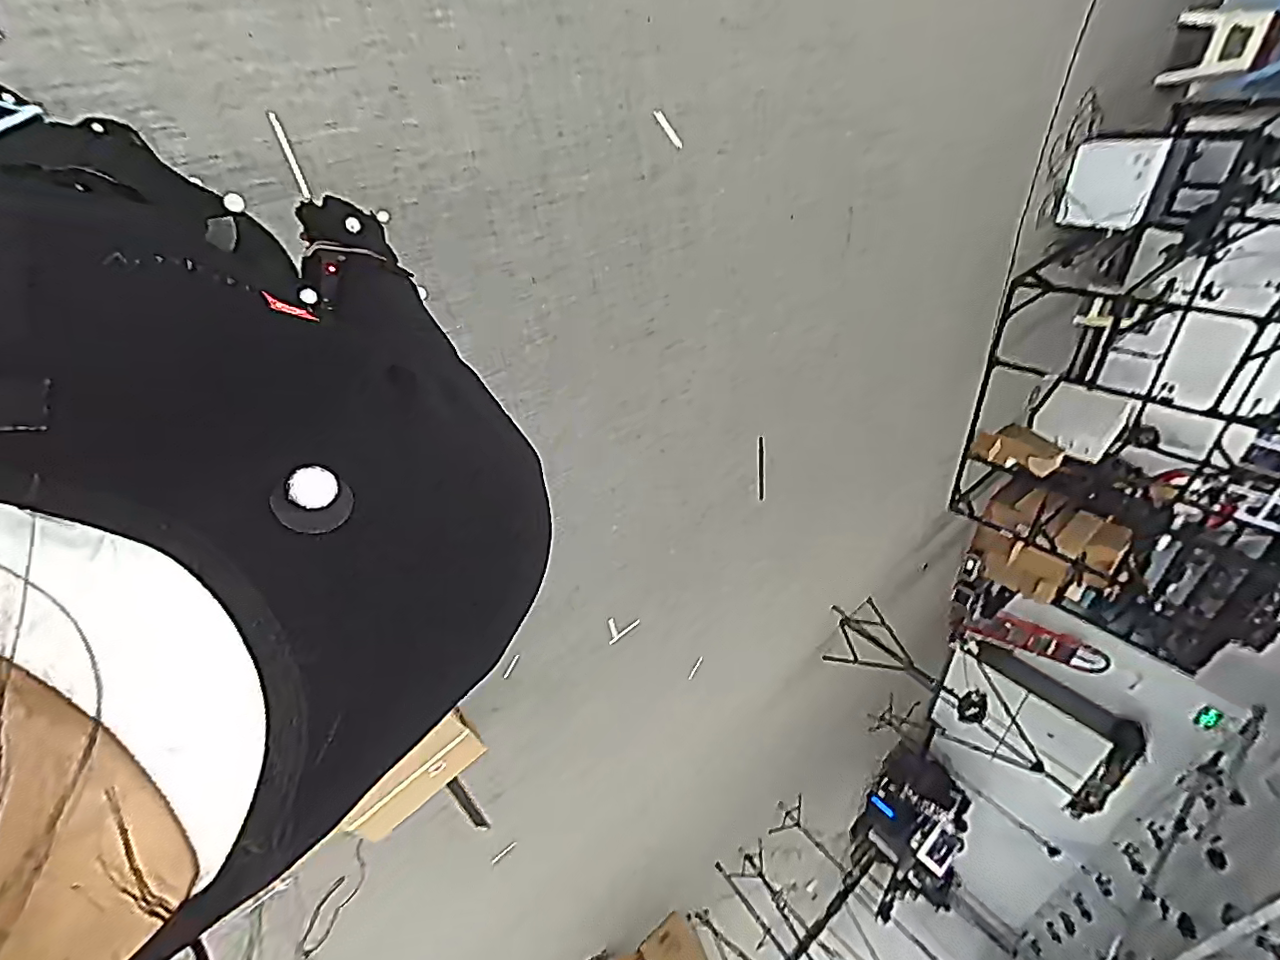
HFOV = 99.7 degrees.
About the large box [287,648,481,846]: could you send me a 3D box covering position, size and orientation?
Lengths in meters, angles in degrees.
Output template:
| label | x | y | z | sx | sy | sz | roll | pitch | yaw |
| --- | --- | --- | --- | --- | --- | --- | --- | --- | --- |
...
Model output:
| label | x | y | z | sx | sy | sz | roll | pitch | yaw |
| --- | --- | --- | --- | --- | --- | --- | --- | --- | --- |
| large box | -0.795 | 0.823 | 1.698 | 0.408 | 0.320 | 0.320 | -37 | 135 | -22 |
